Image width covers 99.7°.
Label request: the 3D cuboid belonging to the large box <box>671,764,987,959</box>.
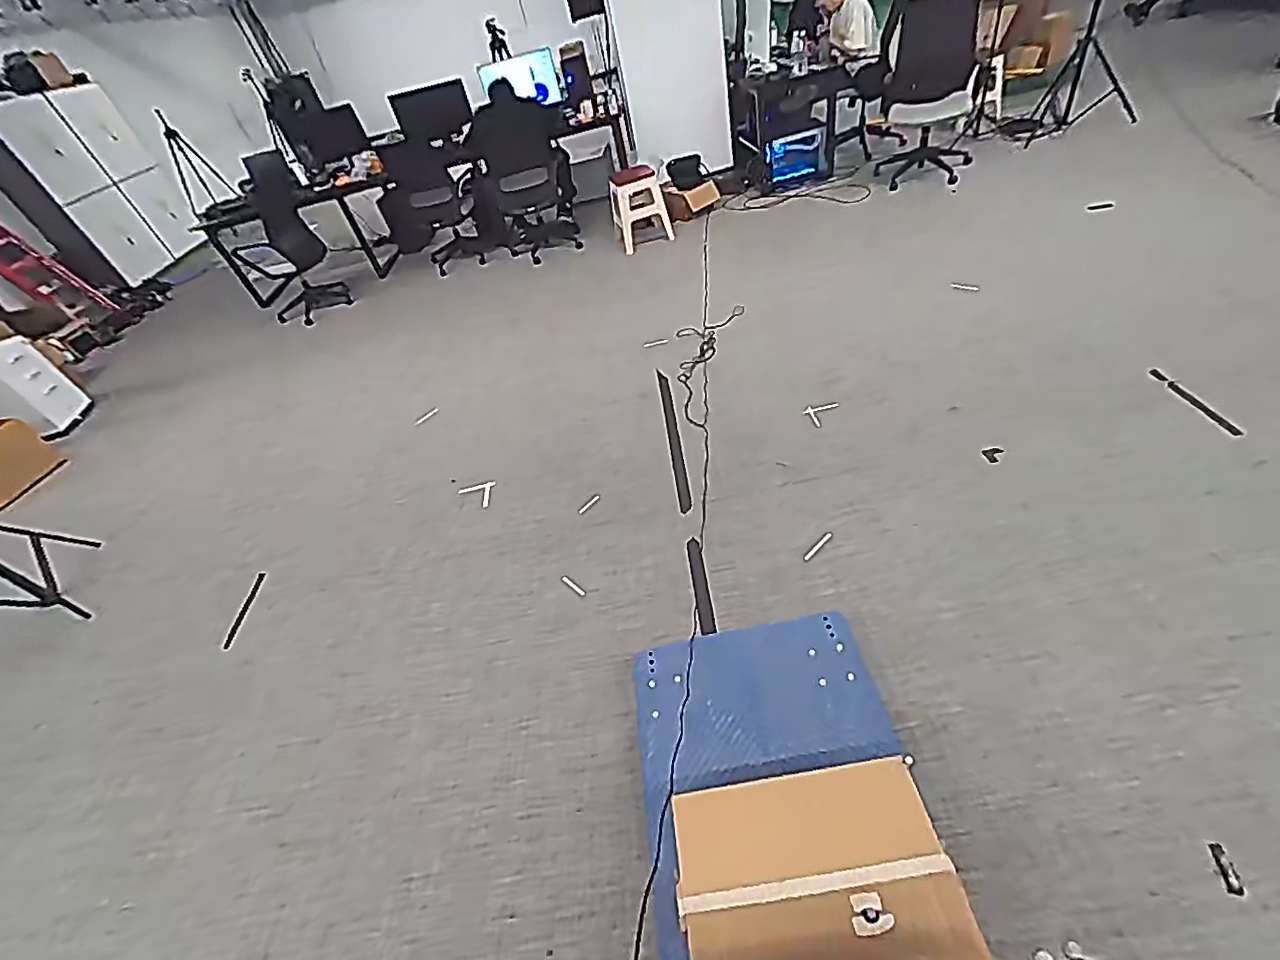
[{"bbox_3d":[0.290,0.729,0.900,0.408,0.320,0.320,-12,41,4],"label":"large box"}]
